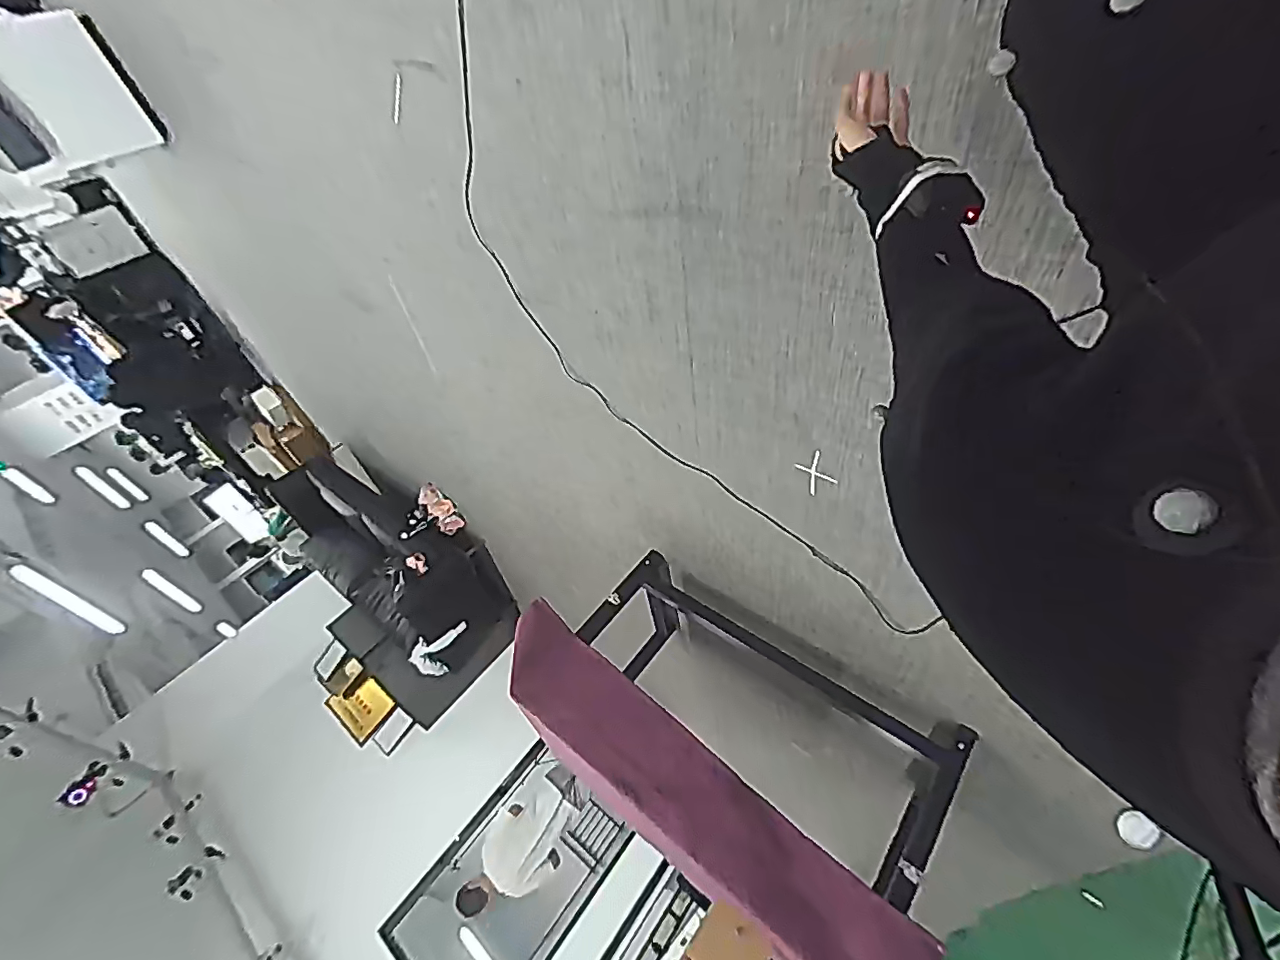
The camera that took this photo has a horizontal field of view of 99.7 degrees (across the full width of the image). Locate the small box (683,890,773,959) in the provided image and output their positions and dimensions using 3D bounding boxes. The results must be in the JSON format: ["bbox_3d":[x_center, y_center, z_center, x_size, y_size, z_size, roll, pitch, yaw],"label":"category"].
[{"bbox_3d":[0.243,1.268,1.482,0.179,0.176,0.168,25,146,33],"label":"small box"}]
